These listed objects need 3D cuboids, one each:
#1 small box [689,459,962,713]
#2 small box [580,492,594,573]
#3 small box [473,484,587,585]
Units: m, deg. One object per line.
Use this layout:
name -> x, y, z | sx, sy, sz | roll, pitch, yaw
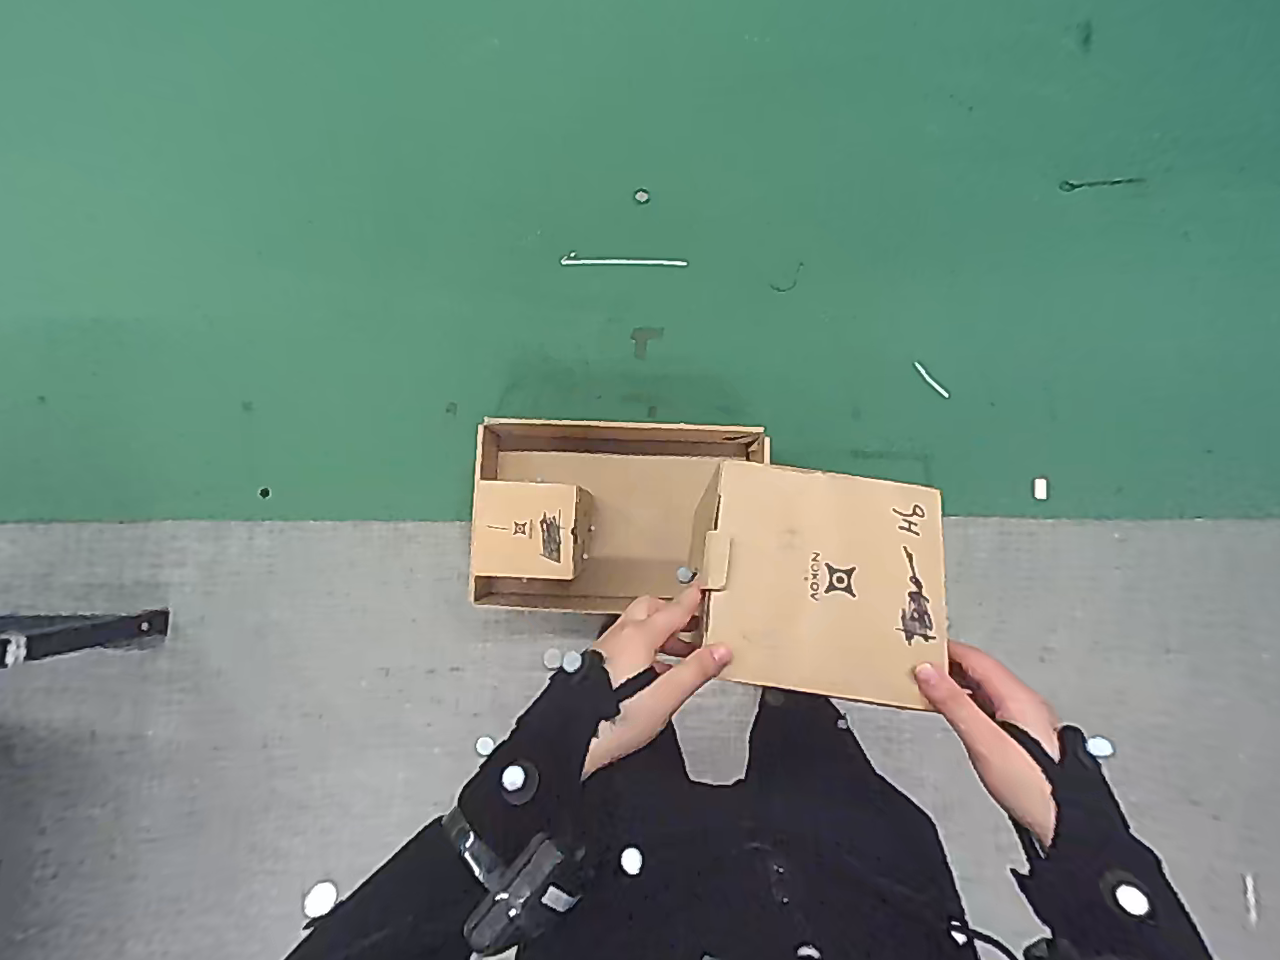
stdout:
small box -> 0.141, 0.097, 0.467 | 0.179, 0.176, 0.168 | 8, 71, 1
small box -> -0.196, 0.110, 1.163 | 0.179, 0.176, 0.168 | 2, 85, -2
small box -> -0.192, 0.099, 0.999 | 0.179, 0.176, 0.168 | 3, 84, 0
